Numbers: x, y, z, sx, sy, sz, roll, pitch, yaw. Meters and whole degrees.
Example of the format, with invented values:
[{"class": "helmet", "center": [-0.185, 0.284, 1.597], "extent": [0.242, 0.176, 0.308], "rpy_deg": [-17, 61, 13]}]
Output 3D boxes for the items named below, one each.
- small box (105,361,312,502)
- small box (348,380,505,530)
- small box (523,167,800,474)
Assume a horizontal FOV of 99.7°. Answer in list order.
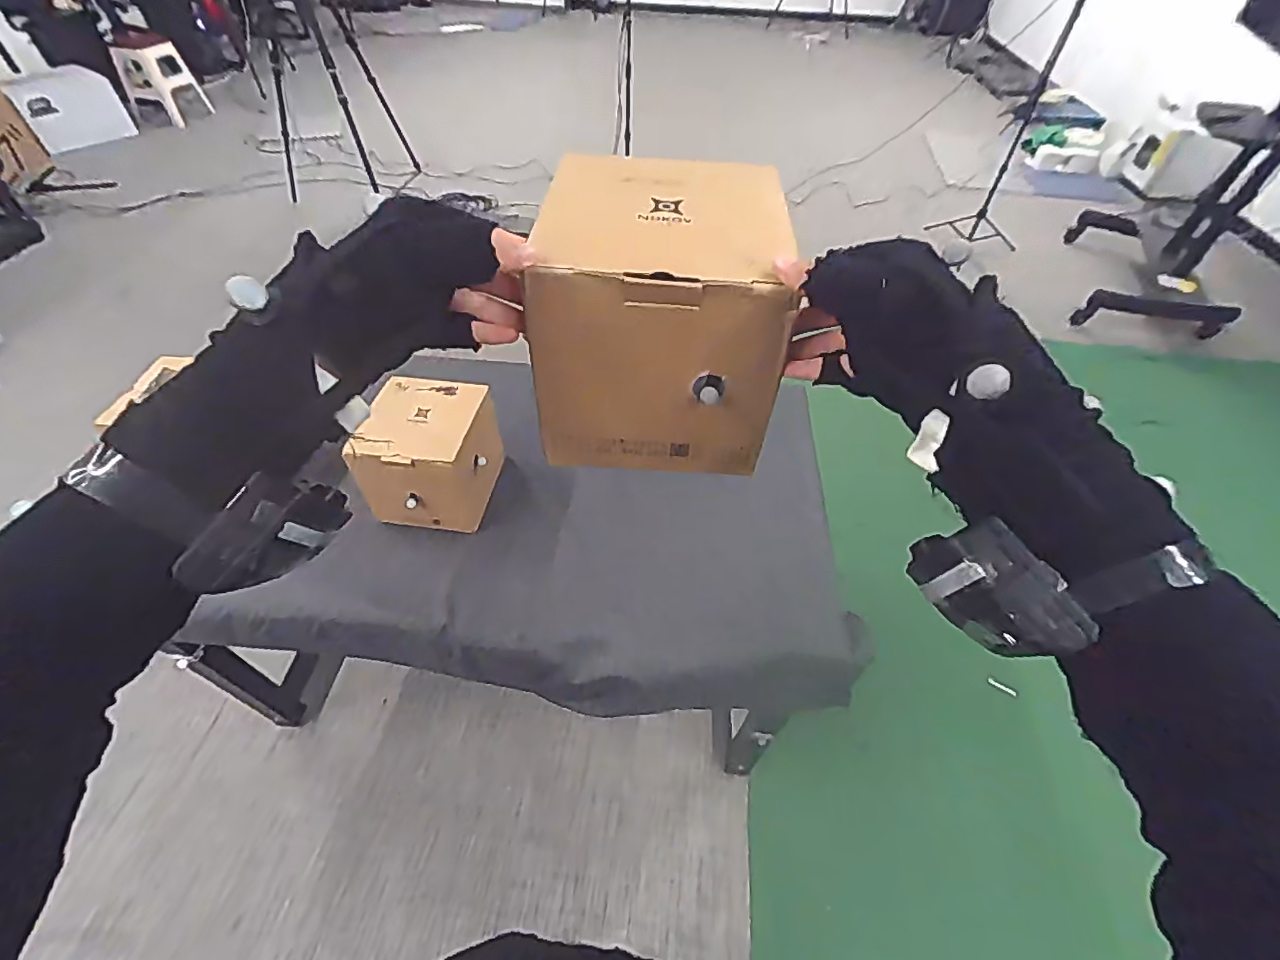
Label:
[{"class": "small box", "center": [-0.697, -0.078, 0.901], "extent": [0.179, 0.176, 0.168], "rpy_deg": [4, 49, -1]}, {"class": "small box", "center": [-0.329, -0.037, 0.881], "extent": [0.168, 0.176, 0.179], "rpy_deg": [6, 50, 3]}, {"class": "small box", "center": [0.015, -0.122, 0.426], "extent": [0.168, 0.176, 0.179], "rpy_deg": [4, 48, 0]}]
